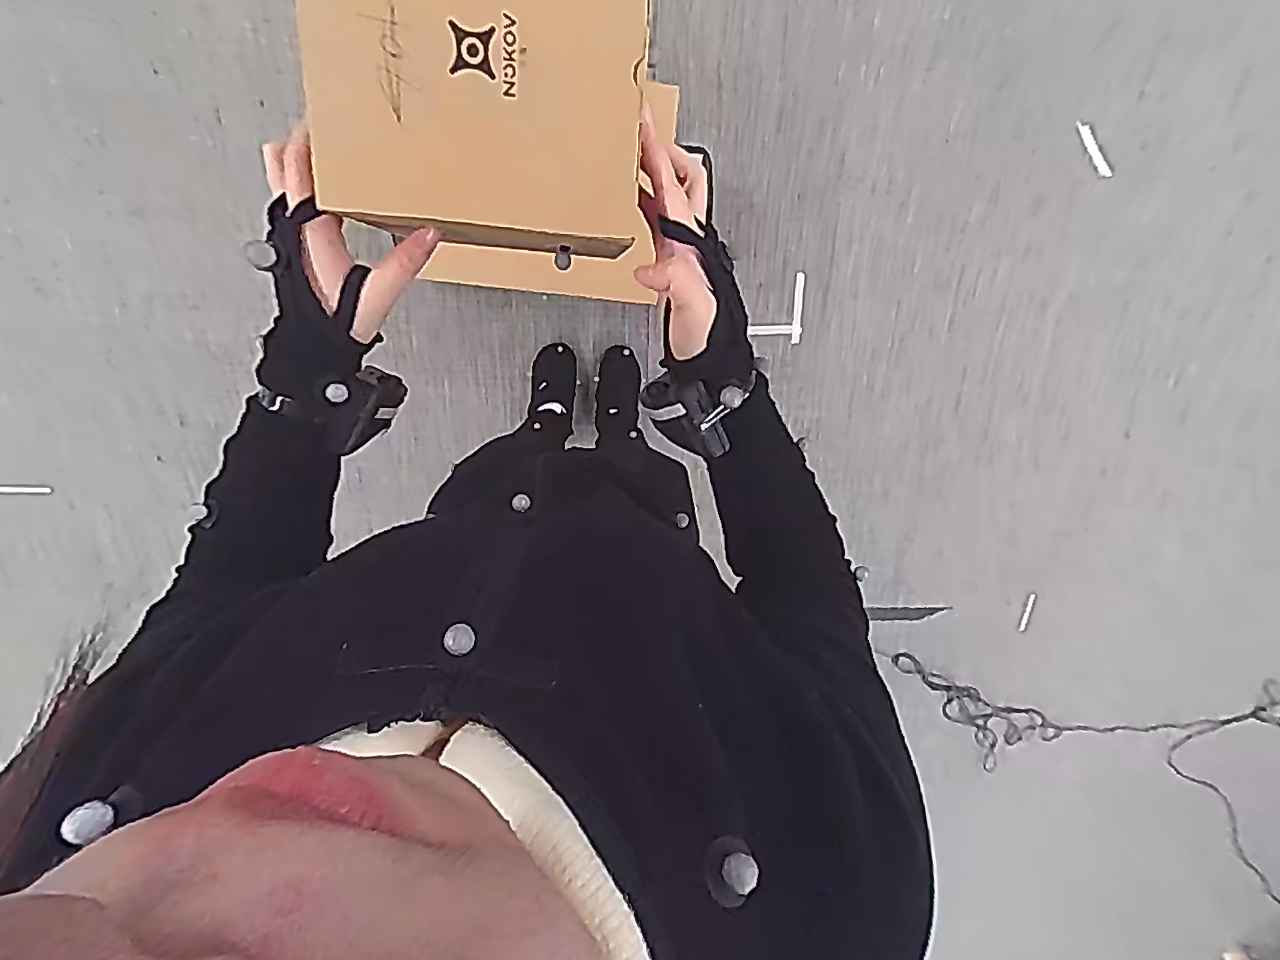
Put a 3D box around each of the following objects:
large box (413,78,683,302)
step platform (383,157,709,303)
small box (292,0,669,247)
[{"bbox_3d":[-0.151,-0.500,0.960,0.408,0.320,0.320,5,109,-5],"label":"large box"},{"bbox_3d":[-0.193,-0.578,1.183,0.684,0.204,0.286,7,109,-5],"label":"step platform"},{"bbox_3d":[-0.083,-0.244,0.333,0.179,0.176,0.168,3,109,-7],"label":"small box"}]
